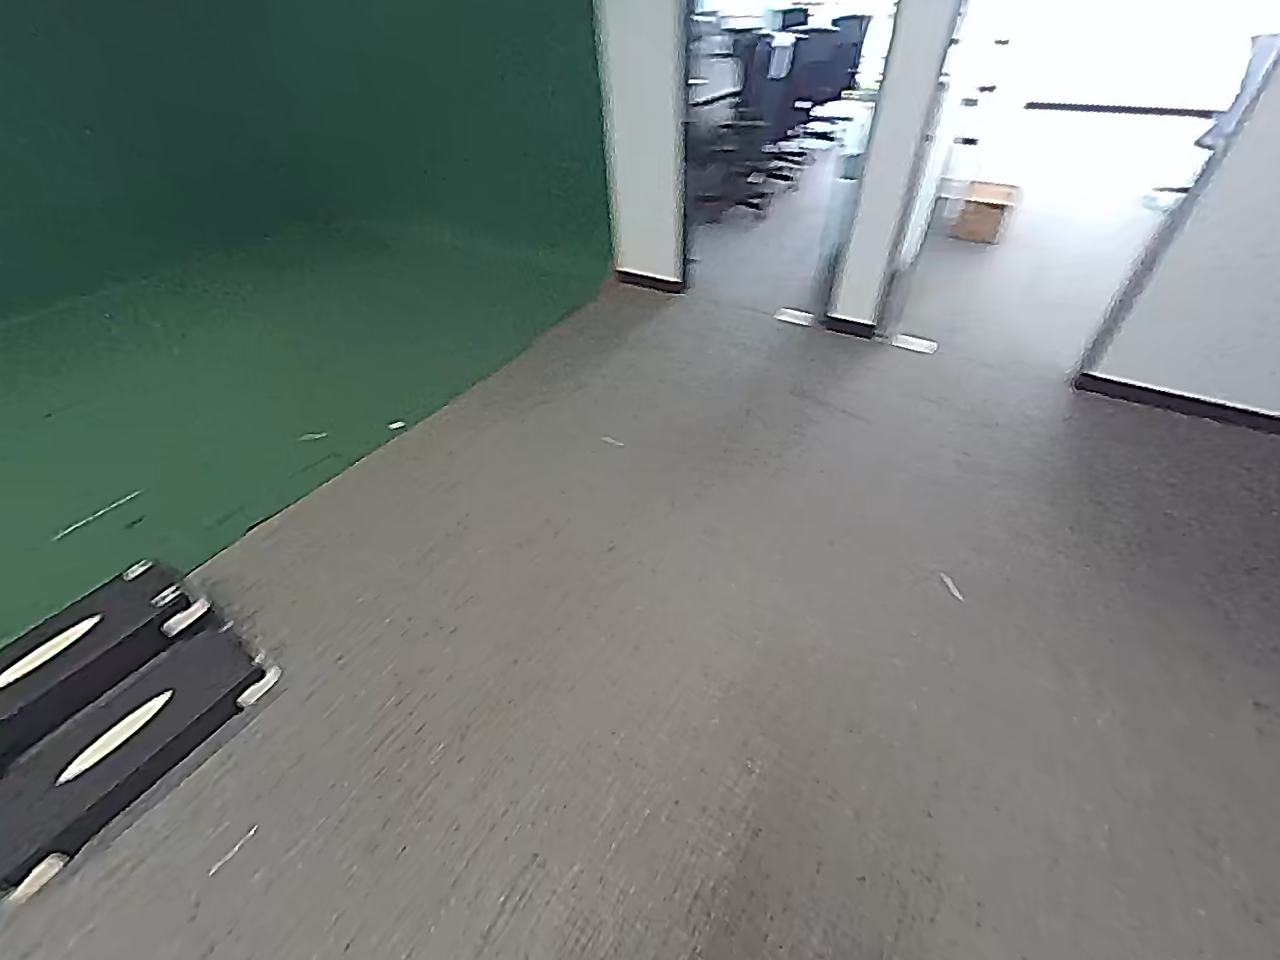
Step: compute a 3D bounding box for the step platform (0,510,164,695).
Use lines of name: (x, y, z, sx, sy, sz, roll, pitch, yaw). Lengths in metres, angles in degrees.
step platform: (-1.708, 0.389, 1.433, 0.286, 0.204, 0.684, 24, 50, 25)
